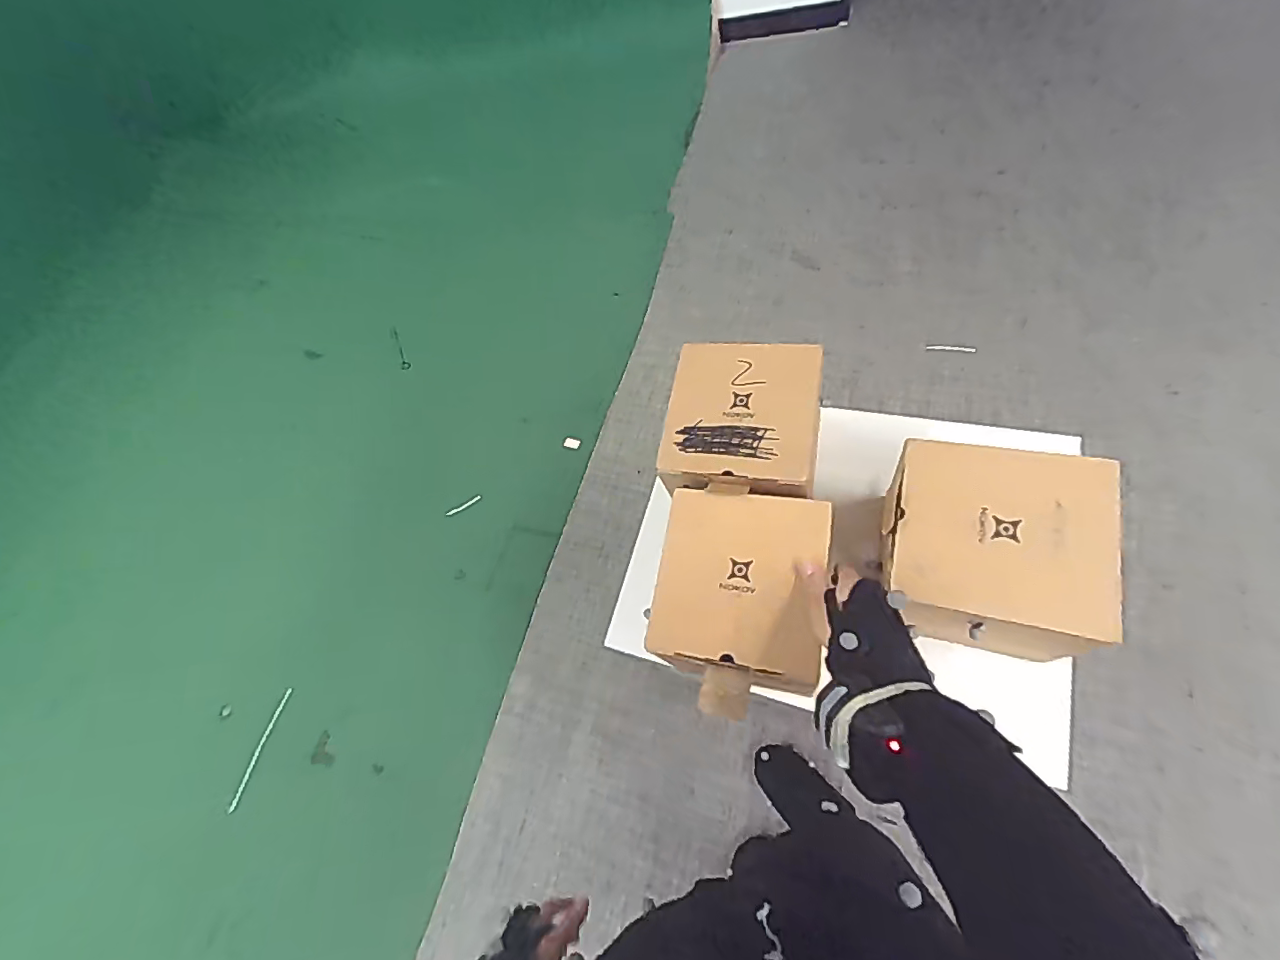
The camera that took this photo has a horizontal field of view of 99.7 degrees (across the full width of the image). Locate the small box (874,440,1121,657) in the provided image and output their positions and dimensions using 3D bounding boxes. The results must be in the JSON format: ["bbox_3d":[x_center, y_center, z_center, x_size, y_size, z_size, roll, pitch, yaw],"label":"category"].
[{"bbox_3d":[0.348,0.076,0.557,0.179,0.176,0.168,9,71,21],"label":"small box"}]
